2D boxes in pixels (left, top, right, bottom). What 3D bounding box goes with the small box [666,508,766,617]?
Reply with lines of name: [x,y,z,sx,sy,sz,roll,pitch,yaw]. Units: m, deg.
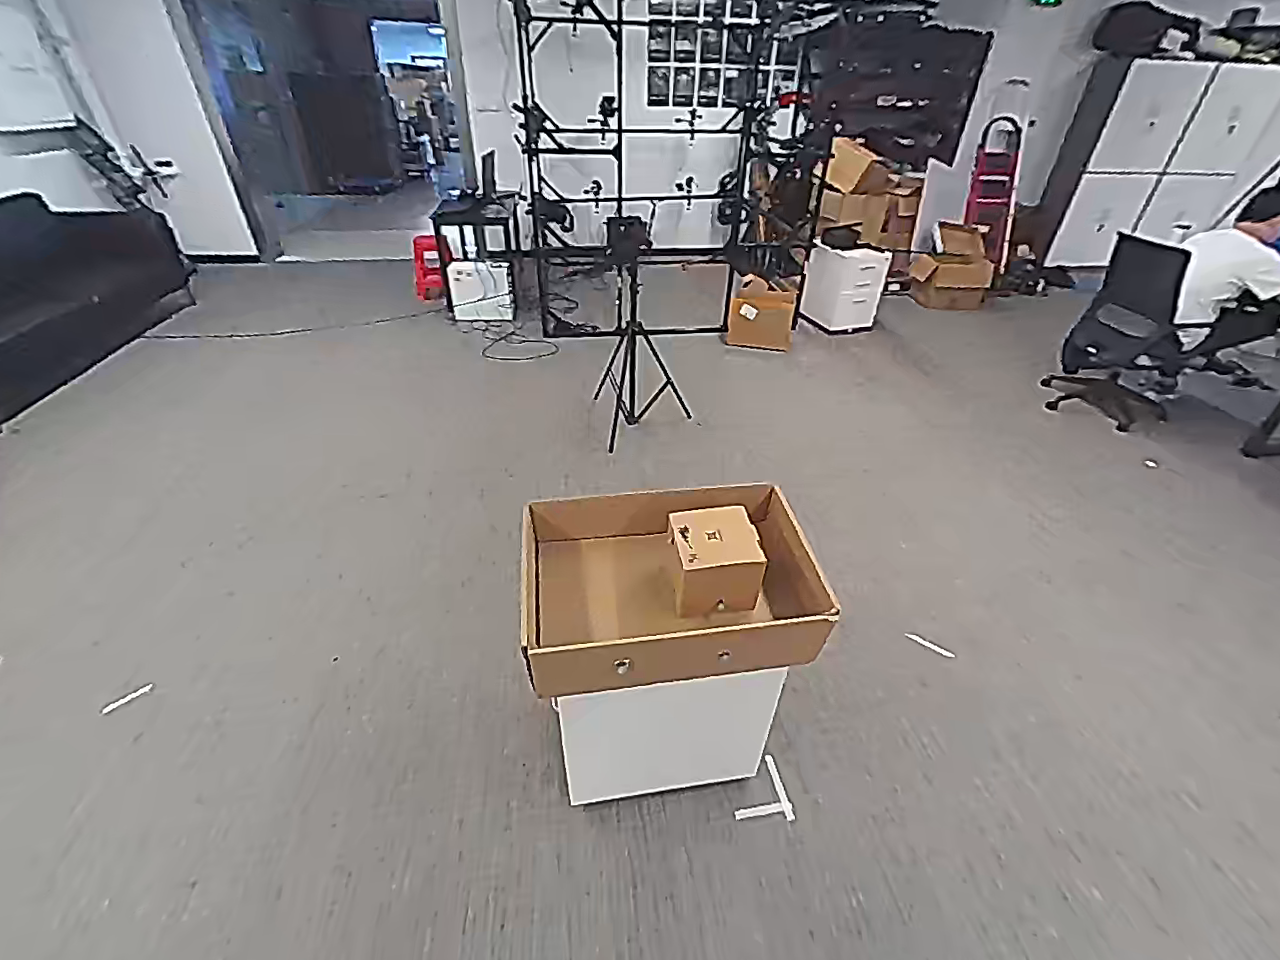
small box: [0.159,0.184,1.205,0.179,0.176,0.168,-5,41,-7]
